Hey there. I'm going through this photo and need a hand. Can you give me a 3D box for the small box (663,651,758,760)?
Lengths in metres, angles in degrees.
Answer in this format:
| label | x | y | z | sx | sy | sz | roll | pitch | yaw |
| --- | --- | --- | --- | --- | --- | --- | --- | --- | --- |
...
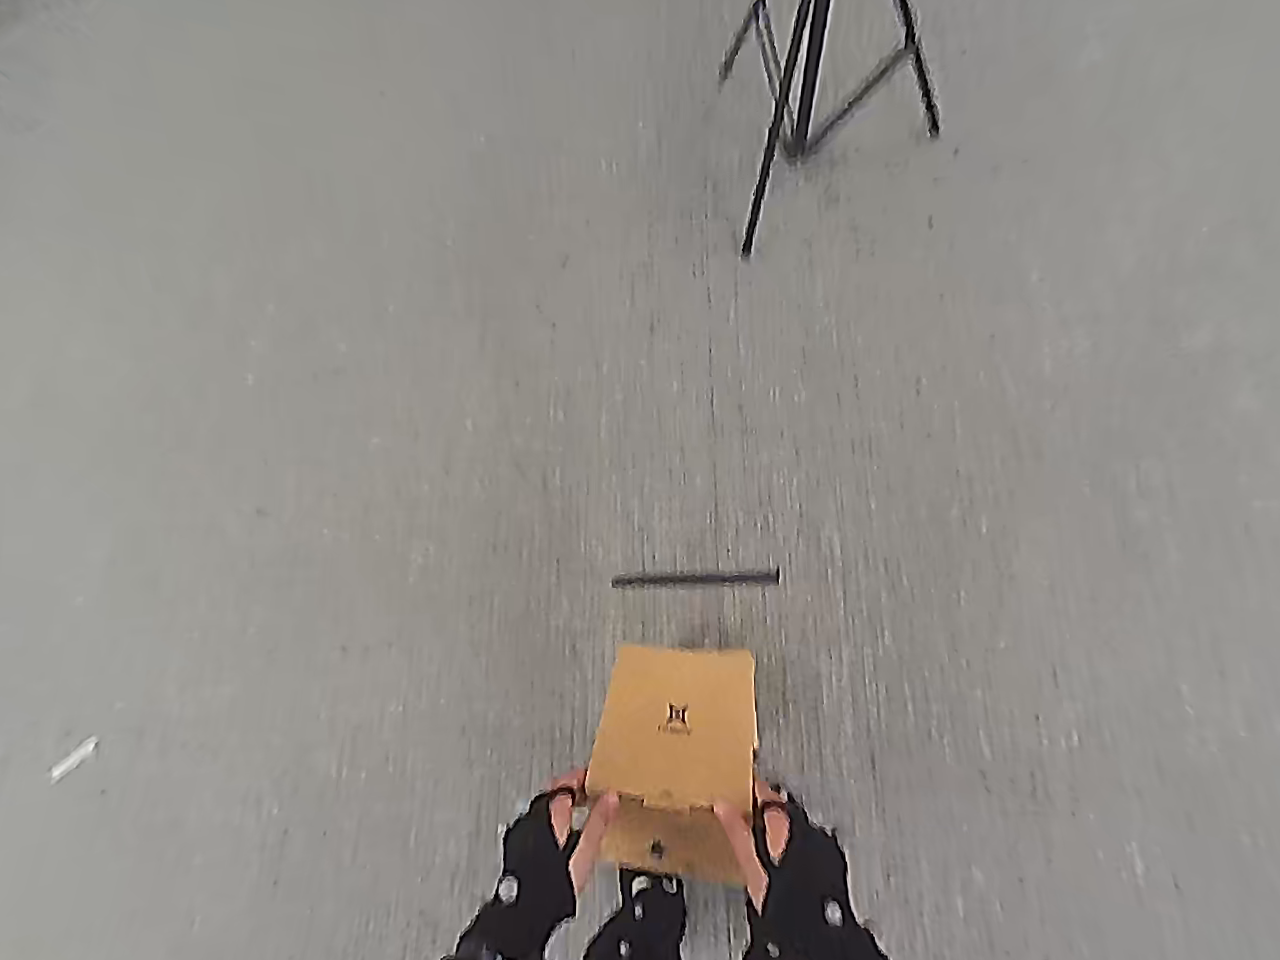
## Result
| label | x | y | z | sx | sy | sz | roll | pitch | yaw |
| --- | --- | --- | --- | --- | --- | --- | --- | --- | --- |
| small box | 0.136 | 0.423 | 1.038 | 0.168 | 0.176 | 0.179 | -4 | 73 | 7 |
